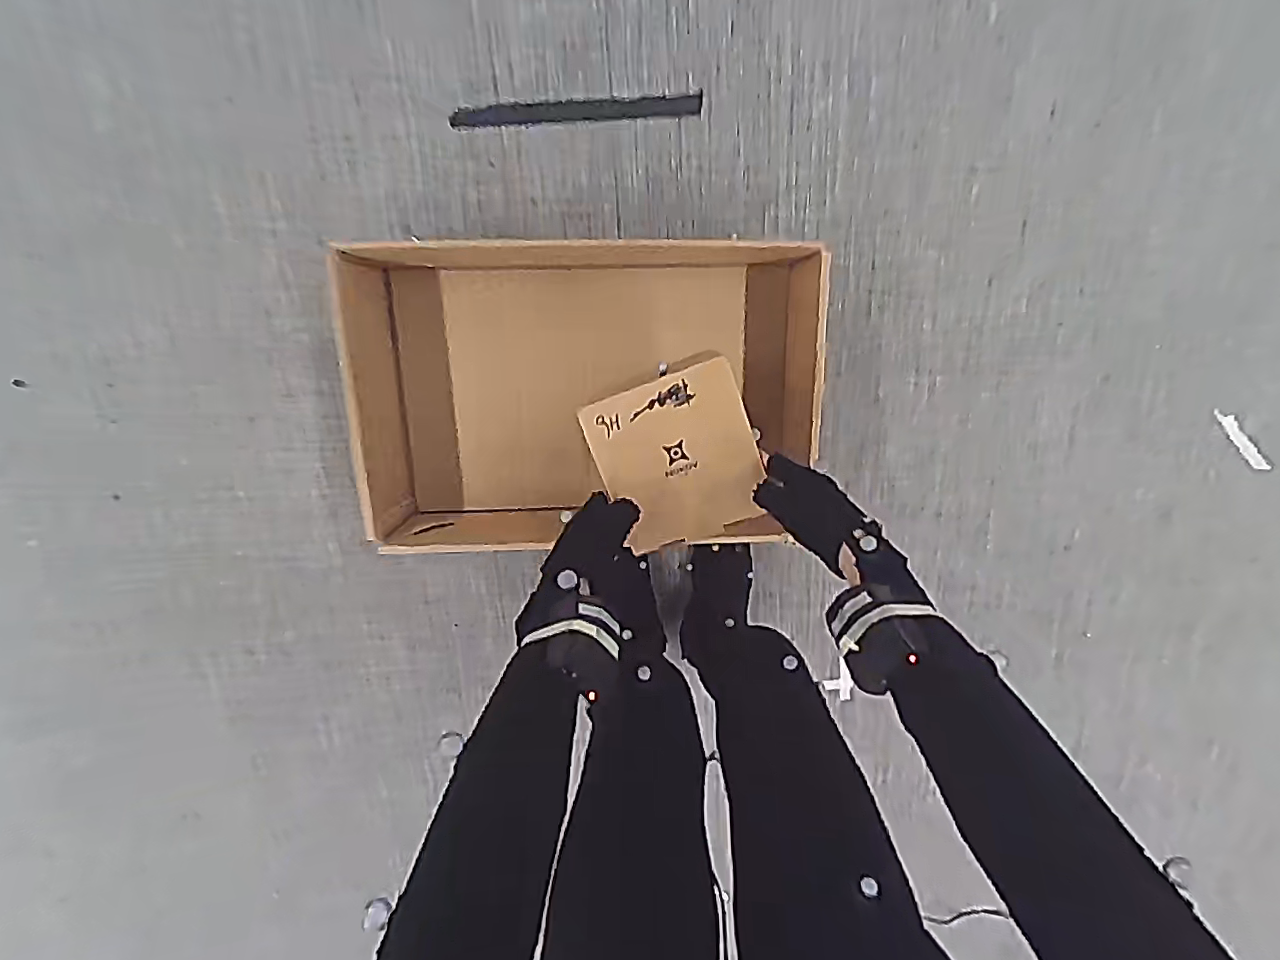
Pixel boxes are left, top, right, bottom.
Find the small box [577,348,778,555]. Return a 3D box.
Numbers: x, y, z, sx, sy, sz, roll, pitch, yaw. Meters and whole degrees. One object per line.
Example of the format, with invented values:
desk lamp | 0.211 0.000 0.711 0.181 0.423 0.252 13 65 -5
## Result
small box | 0.045 -0.043 0.629 0.168 0.176 0.179 -20 103 8
